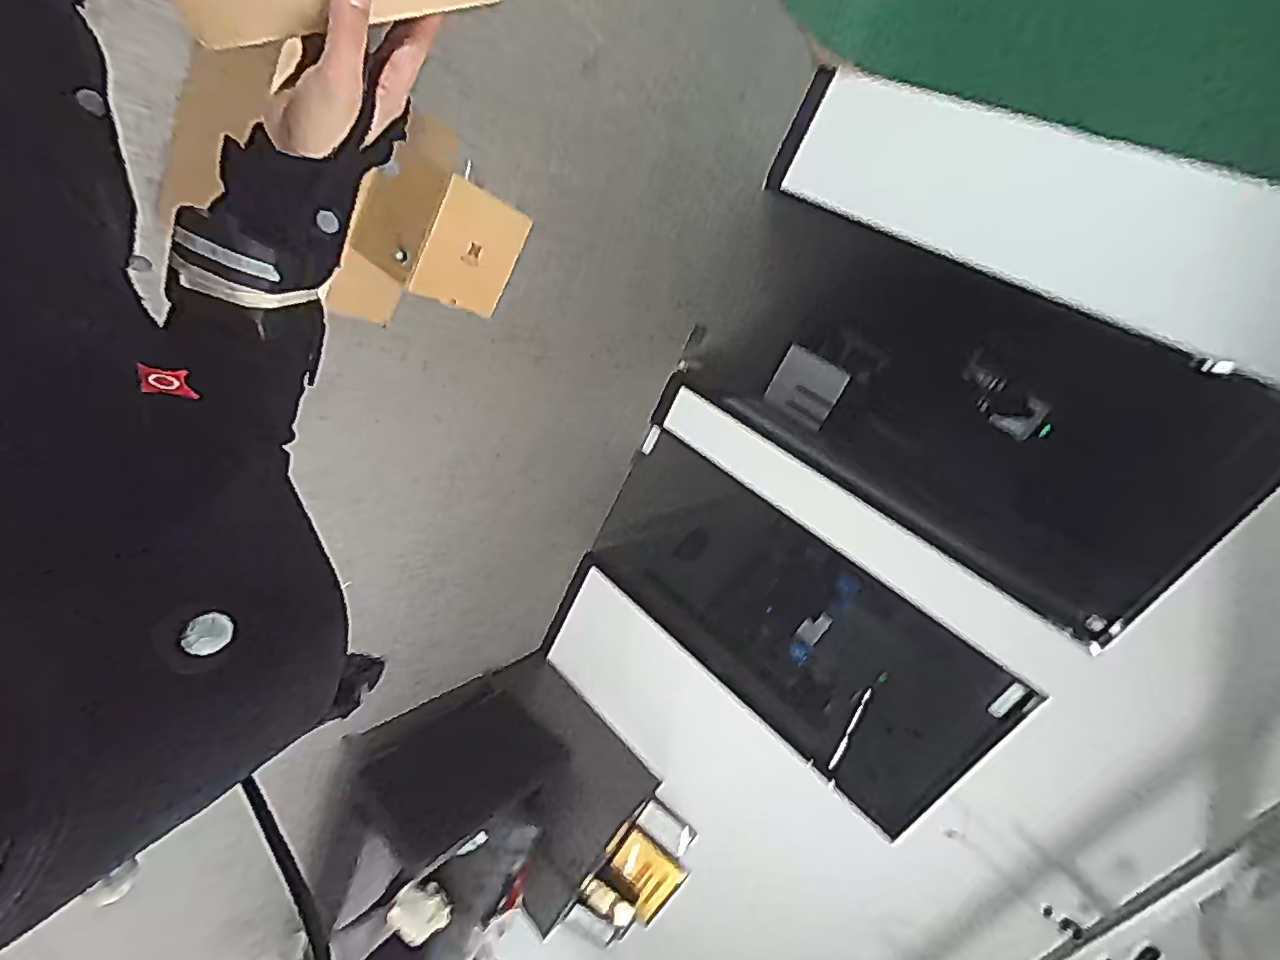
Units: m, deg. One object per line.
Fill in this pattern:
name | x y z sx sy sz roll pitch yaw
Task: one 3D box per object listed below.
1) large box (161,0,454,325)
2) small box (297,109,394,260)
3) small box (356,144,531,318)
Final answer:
large box | -0.630 -0.576 1.027 0.320 0.320 0.408 0 125 -59
small box | -0.440 -0.474 0.909 0.168 0.176 0.179 -1 124 -61
small box | -0.313 -0.388 0.853 0.179 0.176 0.168 -59 156 17
